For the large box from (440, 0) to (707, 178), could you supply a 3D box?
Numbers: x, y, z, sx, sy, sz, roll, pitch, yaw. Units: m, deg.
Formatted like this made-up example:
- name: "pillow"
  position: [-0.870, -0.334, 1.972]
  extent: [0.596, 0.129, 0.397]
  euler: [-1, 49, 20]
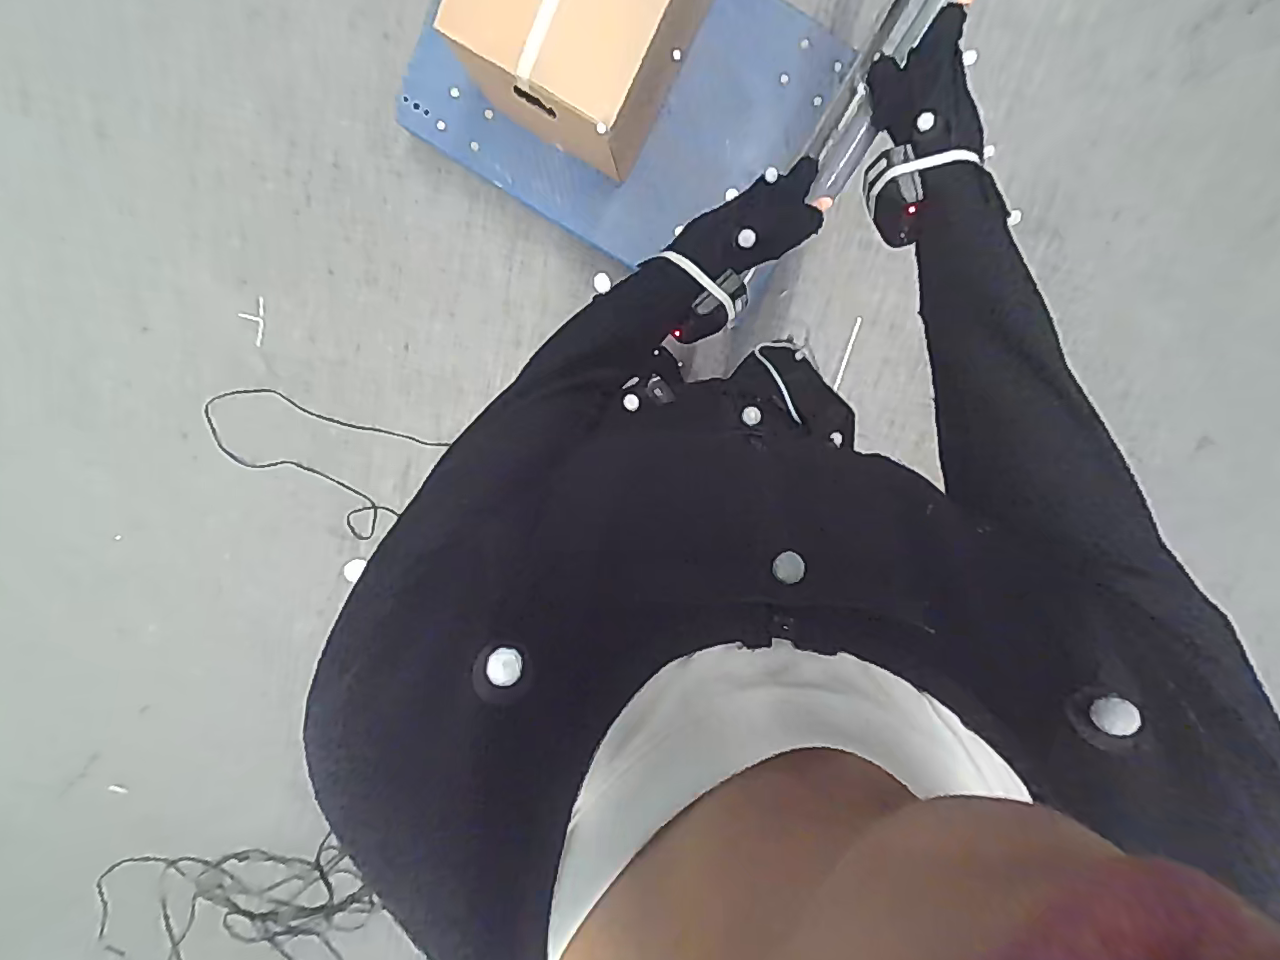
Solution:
- name: "large box"
  position: [-0.081, -0.836, 0.945]
  extent: [0.320, 0.320, 0.408]
  euler: [28, 105, -4]
